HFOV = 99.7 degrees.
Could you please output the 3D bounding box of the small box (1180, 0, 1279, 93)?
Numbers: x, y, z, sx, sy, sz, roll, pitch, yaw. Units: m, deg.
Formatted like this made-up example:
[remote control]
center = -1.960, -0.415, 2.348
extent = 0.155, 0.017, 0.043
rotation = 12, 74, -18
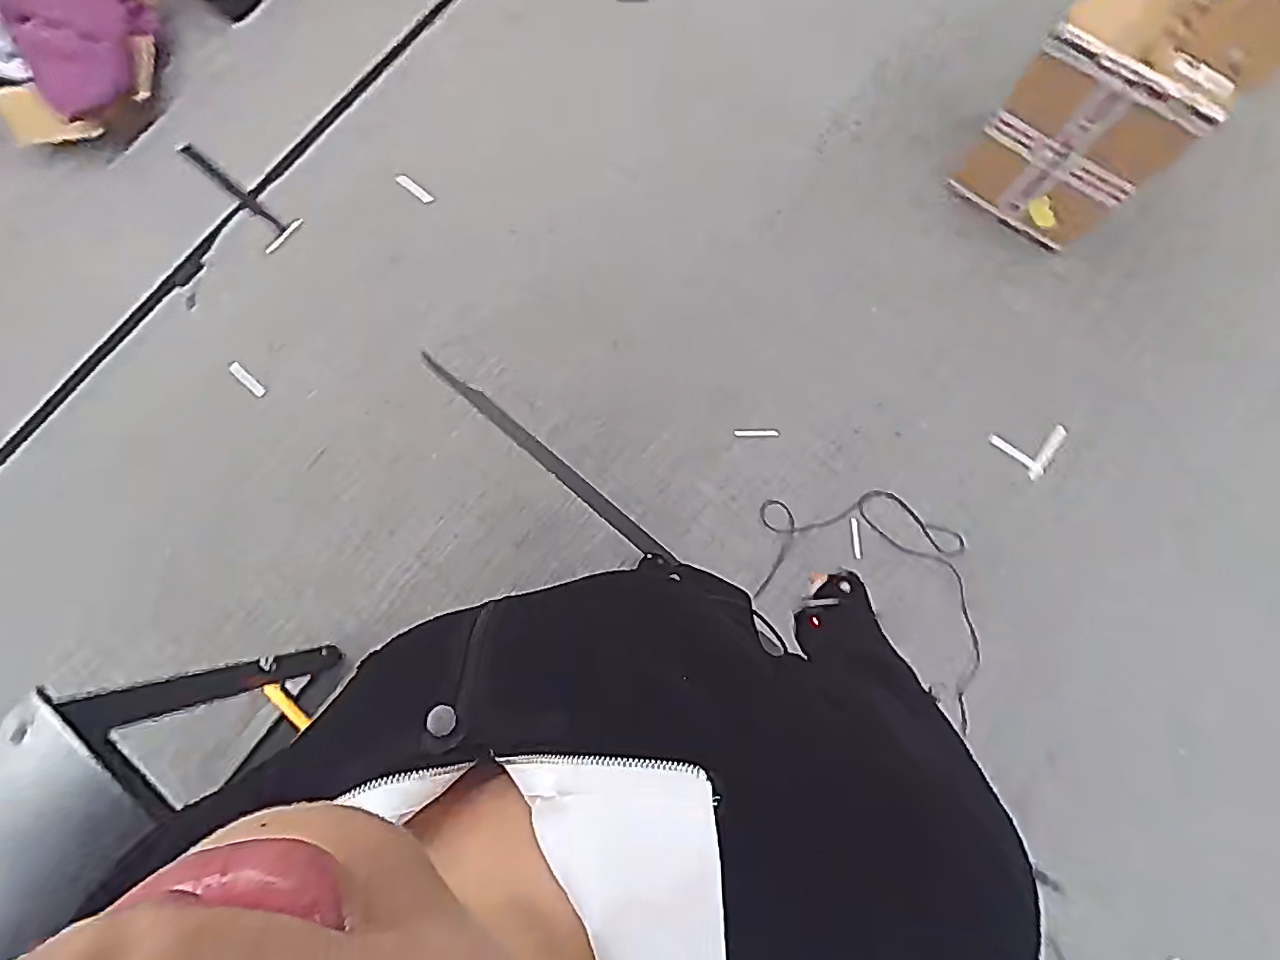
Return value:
[small box]
center = 1.257, -0.938, 1.076
extent = 0.168, 0.176, 0.179
rotation = 41, 87, 7
